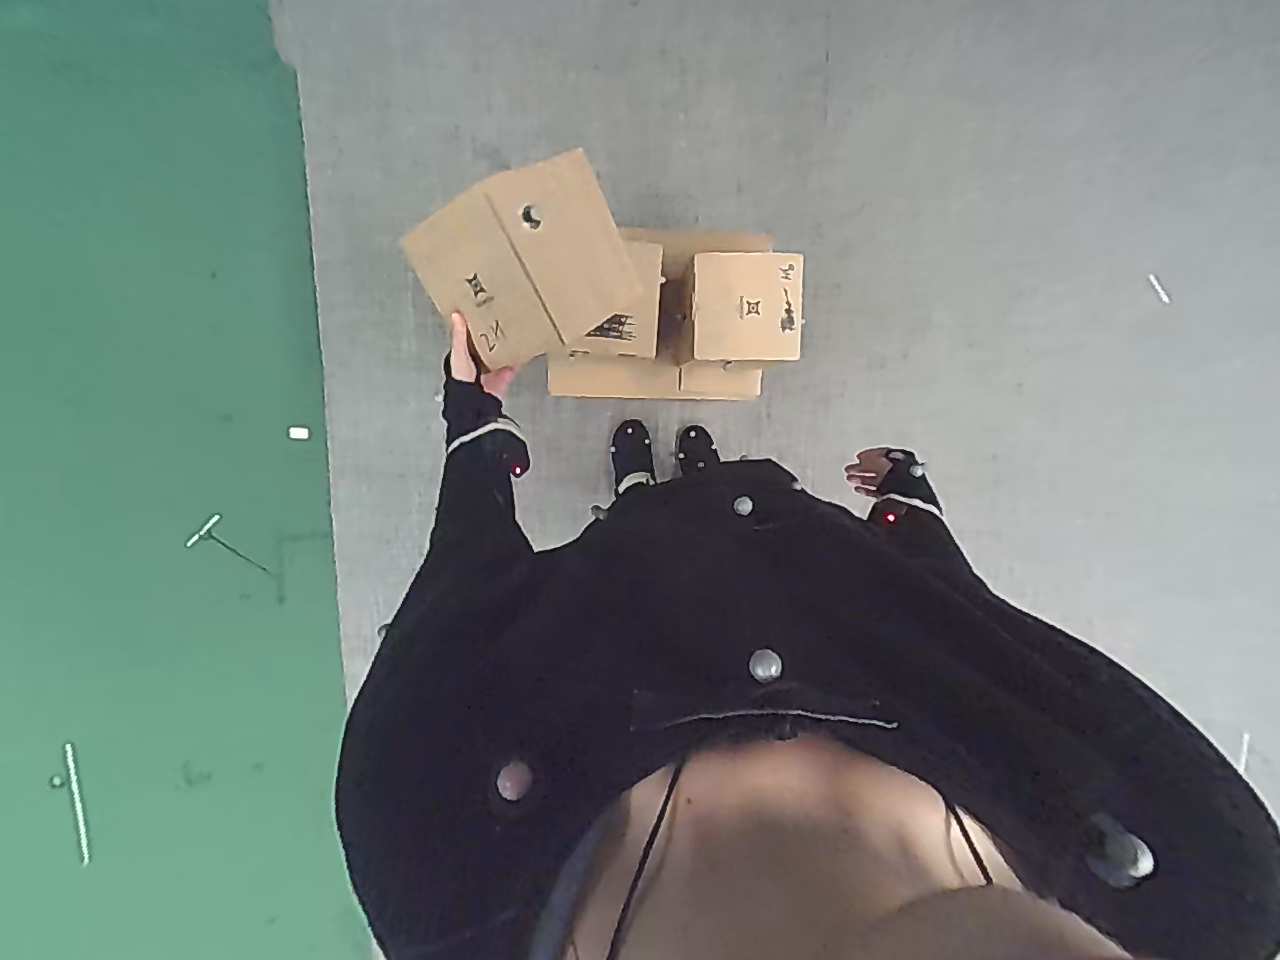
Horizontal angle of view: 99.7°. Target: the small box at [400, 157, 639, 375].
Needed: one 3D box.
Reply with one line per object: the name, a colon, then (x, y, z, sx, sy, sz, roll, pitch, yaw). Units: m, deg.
small box: (-0.133, -0.251, 0.637, 0.176, 0.168, 0.179, -50, 123, -35)
